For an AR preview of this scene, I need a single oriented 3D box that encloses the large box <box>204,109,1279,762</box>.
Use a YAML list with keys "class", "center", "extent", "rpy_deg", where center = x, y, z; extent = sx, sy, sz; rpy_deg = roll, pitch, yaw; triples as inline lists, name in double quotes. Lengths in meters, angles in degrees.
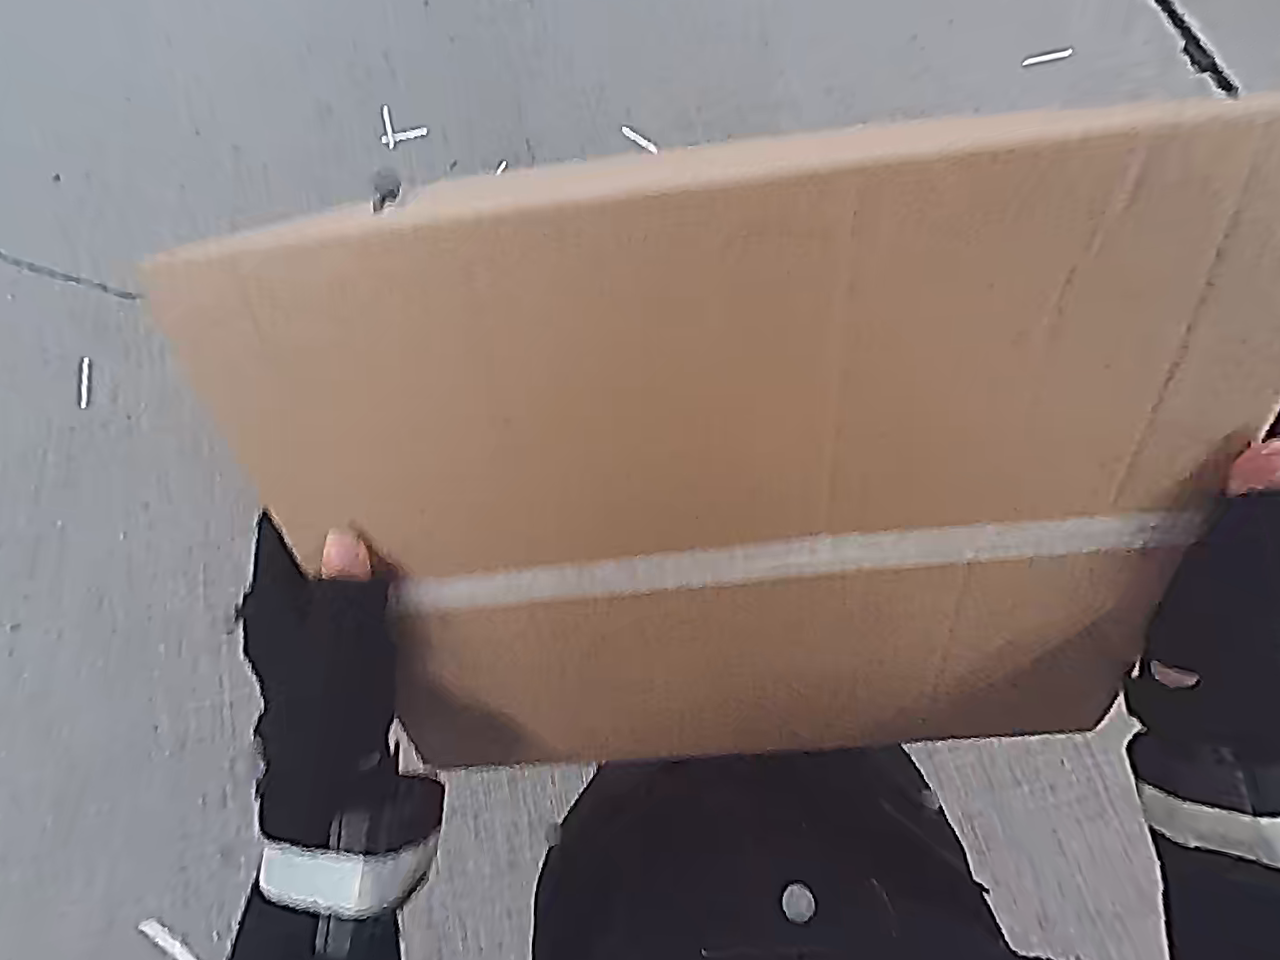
- class: "large box"
  center: [0.051, -0.043, 0.387]
  extent: [0.408, 0.320, 0.320]
  rpy_deg: [-6, 33, 4]
